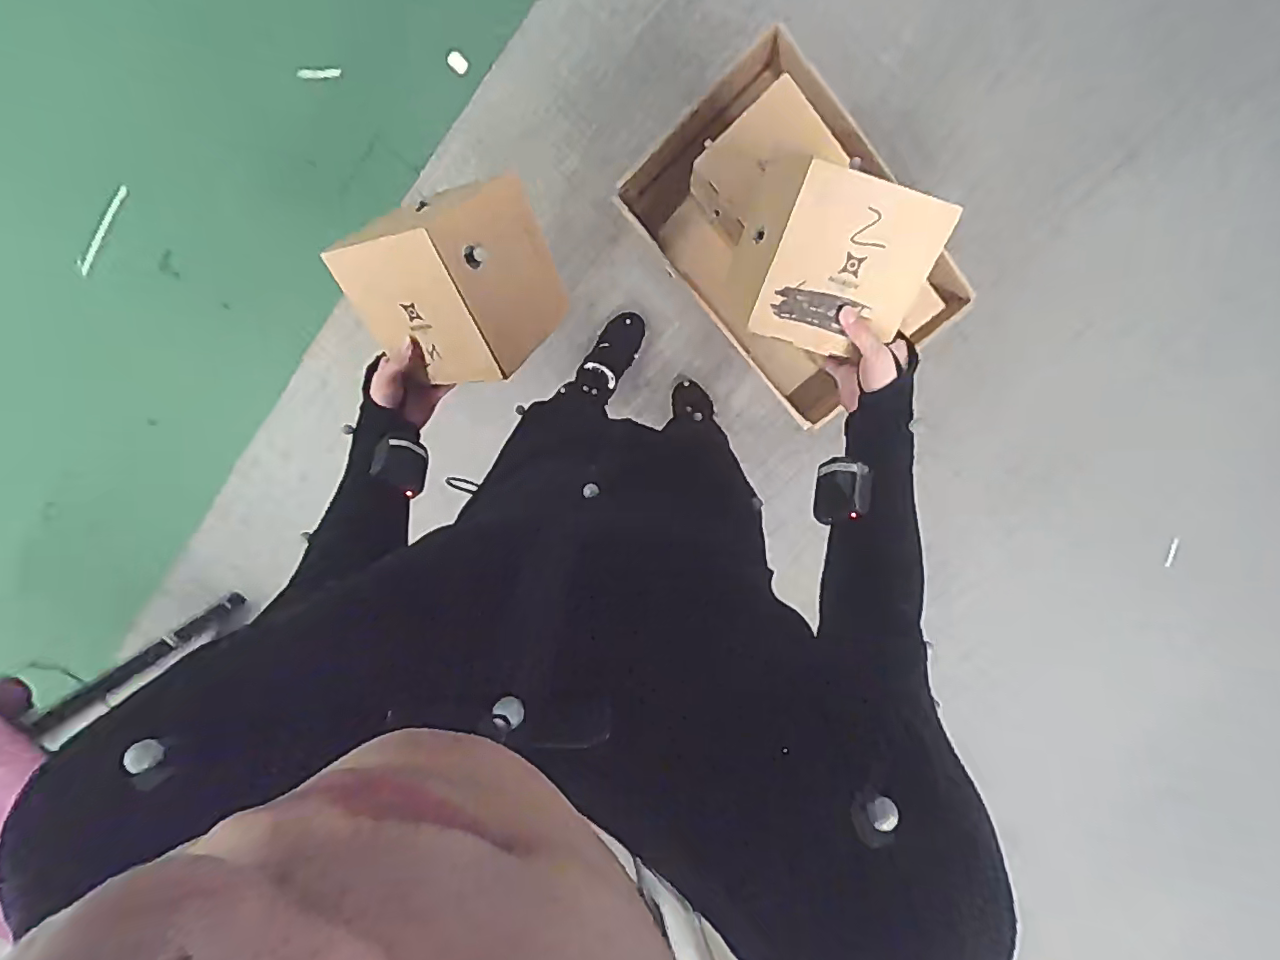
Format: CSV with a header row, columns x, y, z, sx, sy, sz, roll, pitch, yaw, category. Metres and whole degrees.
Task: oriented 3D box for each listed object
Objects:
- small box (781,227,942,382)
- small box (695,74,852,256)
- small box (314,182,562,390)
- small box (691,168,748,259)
x,y,z,sx,sy,sz,roll,pitch,yaw,category
0.359,-0.292,0.919,0.179,0.176,0.168,-39,101,14,small box
0.201,-0.490,0.875,0.179,0.176,0.168,-39,101,14,small box
-0.221,-0.228,0.637,0.168,0.176,0.179,2,135,28,small box
0.209,-0.546,1.029,0.168,0.176,0.179,-38,101,14,small box
